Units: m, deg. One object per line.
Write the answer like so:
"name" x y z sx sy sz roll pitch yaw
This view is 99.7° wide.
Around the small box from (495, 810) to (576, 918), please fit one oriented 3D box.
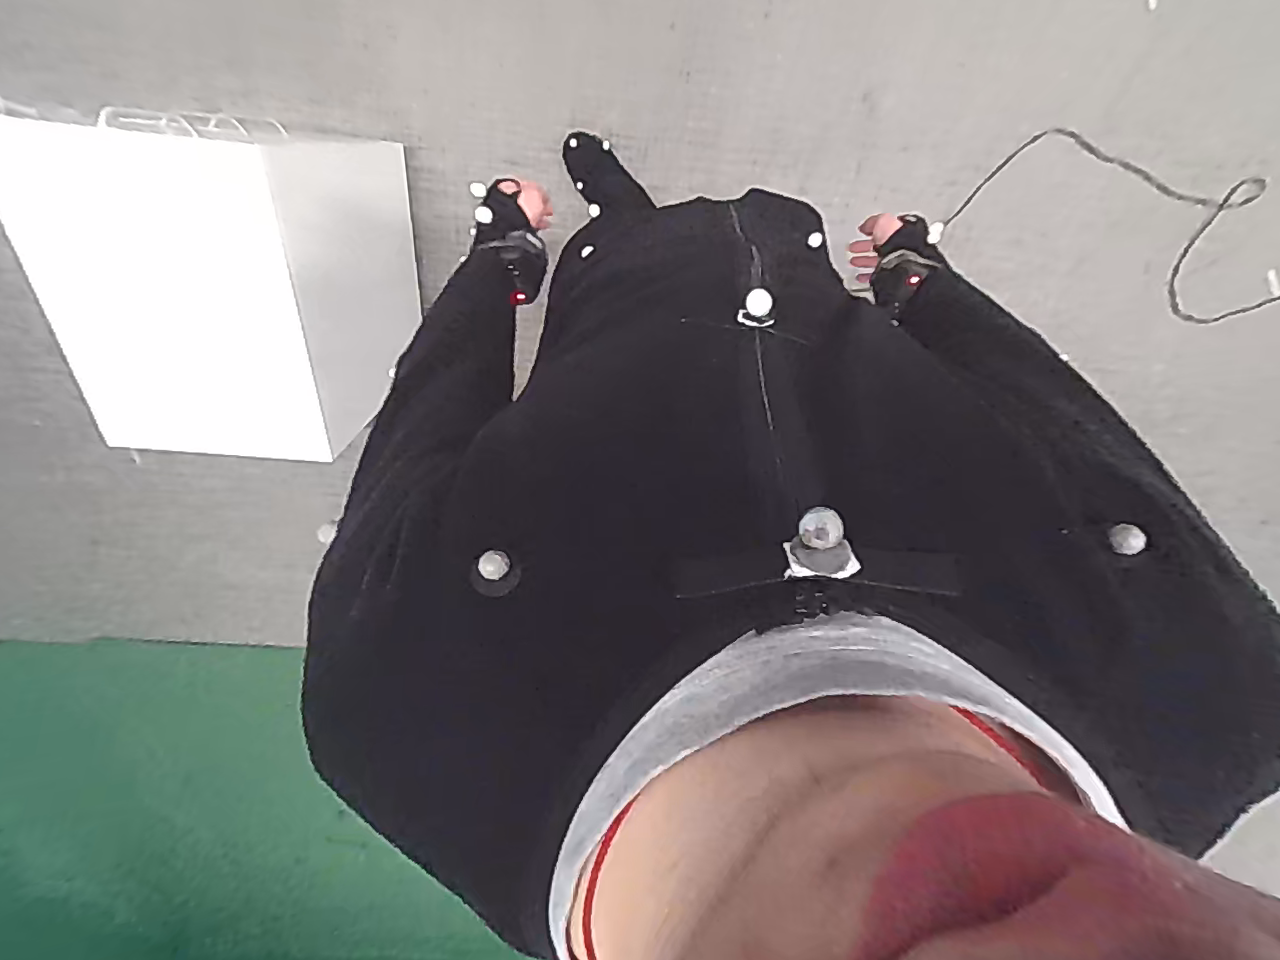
"small box" -0.250 0.931 1.314 0.179 0.176 0.168 5 121 -5
